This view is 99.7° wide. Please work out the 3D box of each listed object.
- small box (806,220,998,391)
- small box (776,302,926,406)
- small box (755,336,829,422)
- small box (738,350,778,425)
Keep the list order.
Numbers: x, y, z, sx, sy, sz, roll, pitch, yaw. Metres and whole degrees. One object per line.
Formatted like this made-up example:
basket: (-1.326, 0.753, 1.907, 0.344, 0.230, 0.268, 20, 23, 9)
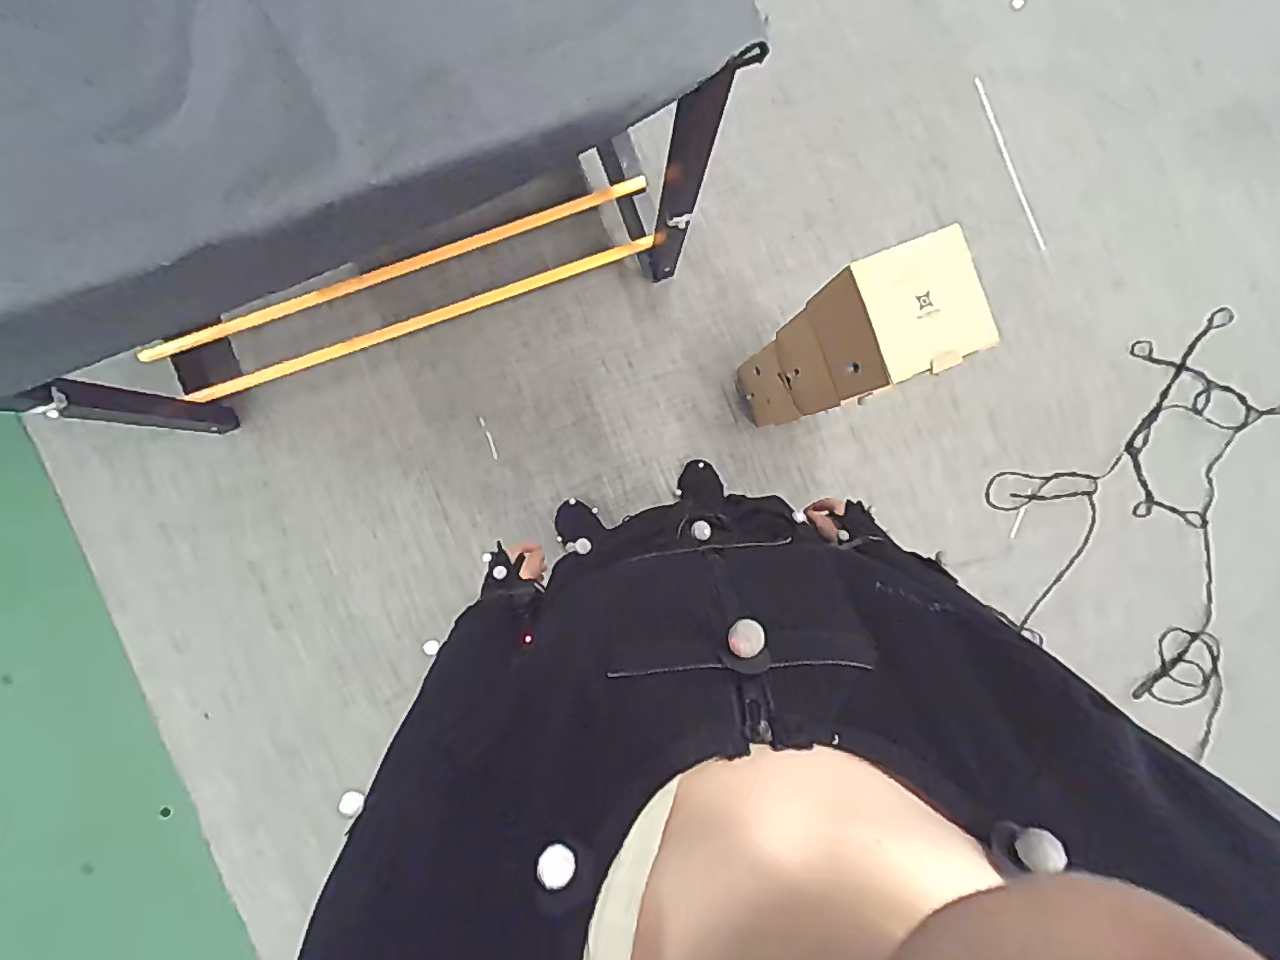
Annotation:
small box: (0.377, -0.243, 0.808, 0.168, 0.176, 0.179, -22, 91, -3)
small box: (0.368, -0.239, 0.969, 0.168, 0.176, 0.179, -21, 92, -4)
small box: (0.358, -0.232, 1.133, 0.179, 0.176, 0.168, -23, 92, -4)
small box: (0.358, -0.241, 1.297, 0.179, 0.176, 0.168, -21, 91, -4)
